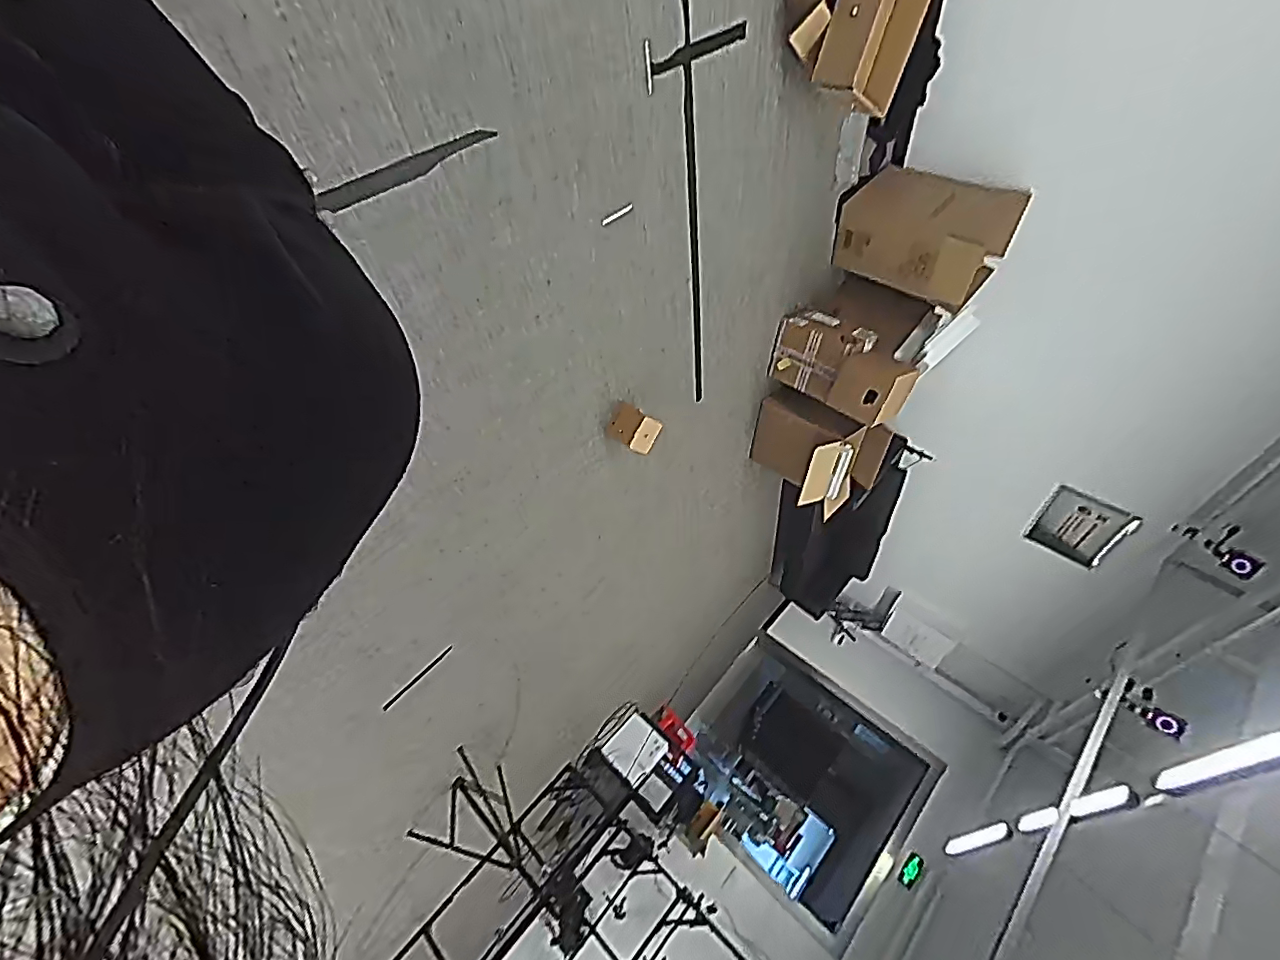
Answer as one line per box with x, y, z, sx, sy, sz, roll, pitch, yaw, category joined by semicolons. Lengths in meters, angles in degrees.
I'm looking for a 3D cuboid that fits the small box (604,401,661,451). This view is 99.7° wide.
-0.038;-0.260;2.571;0.179;0.176;0.168;13;108;-60;small box
